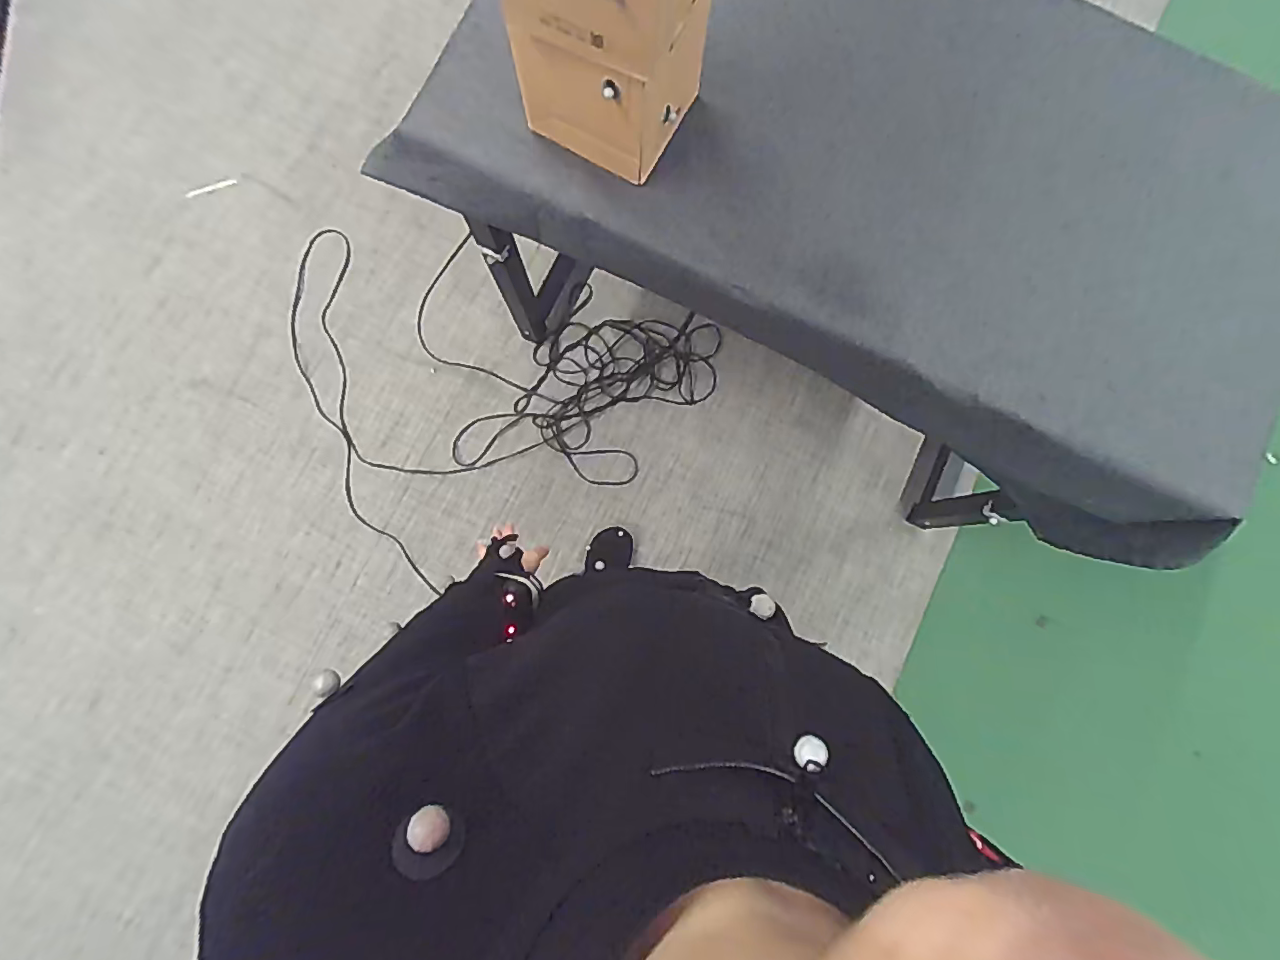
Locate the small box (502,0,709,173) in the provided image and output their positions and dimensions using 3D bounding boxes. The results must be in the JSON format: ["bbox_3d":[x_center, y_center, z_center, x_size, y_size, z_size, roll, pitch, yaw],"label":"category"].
[{"bbox_3d":[-0.036,-0.515,0.649,0.179,0.176,0.168,29,82,1],"label":"small box"}]

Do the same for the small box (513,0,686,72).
[{"bbox_3d":[-0.028,-0.528,0.488,0.168,0.176,0.179,23,81,-1],"label":"small box"}]
